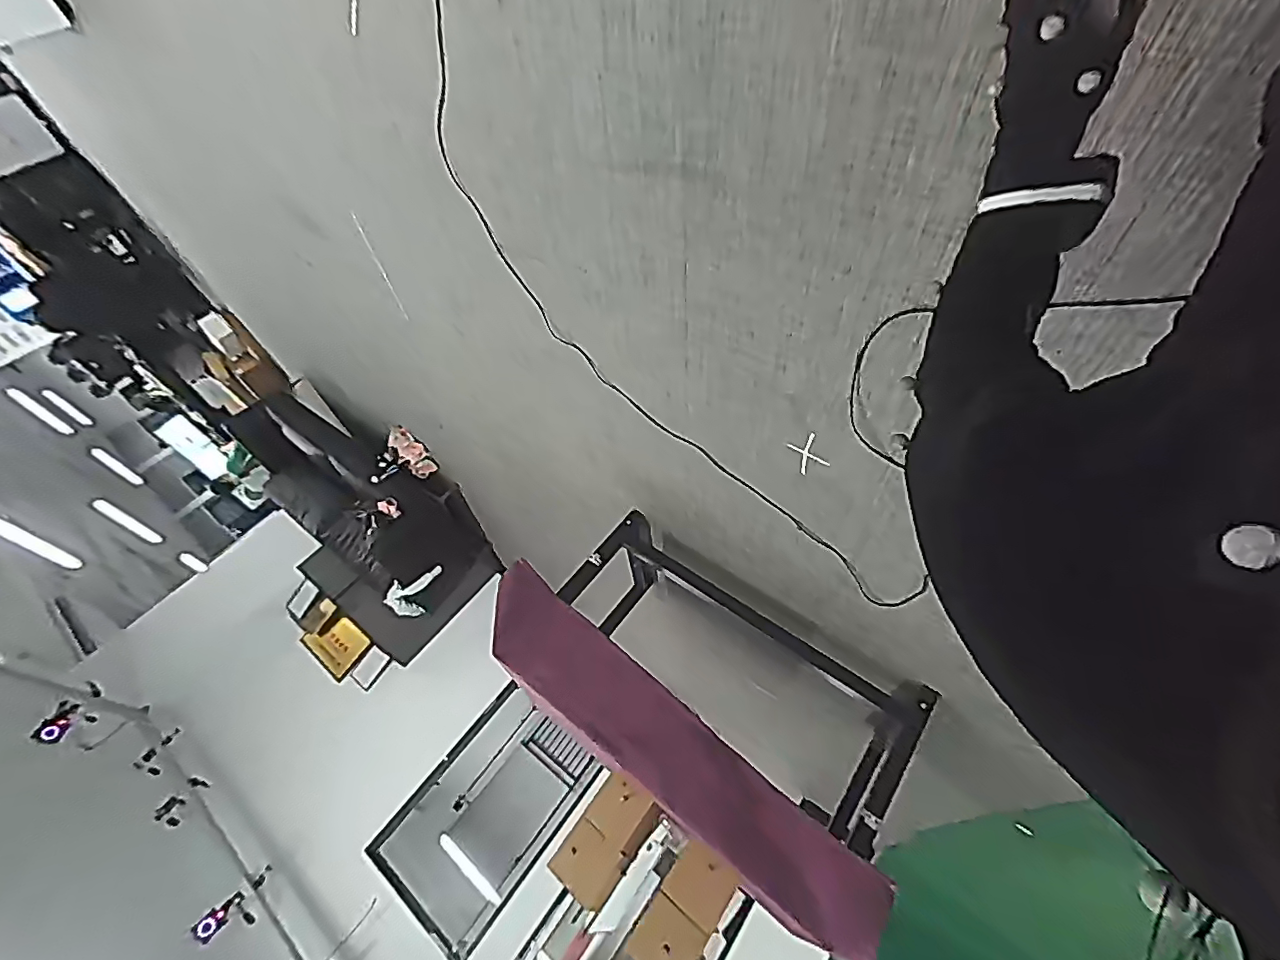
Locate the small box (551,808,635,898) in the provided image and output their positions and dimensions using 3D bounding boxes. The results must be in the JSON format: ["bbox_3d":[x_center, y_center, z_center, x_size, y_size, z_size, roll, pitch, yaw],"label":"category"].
[{"bbox_3d":[-0.142,1.153,1.684,0.179,0.176,0.168,26,151,30],"label":"small box"}]

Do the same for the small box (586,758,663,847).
[{"bbox_3d":[-0.043,1.044,1.756,0.168,0.176,0.179,25,149,31],"label":"small box"}]

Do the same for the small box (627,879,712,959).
[{"bbox_3d":[0.088,1.283,1.552,0.179,0.176,0.168,28,151,27],"label":"small box"}]

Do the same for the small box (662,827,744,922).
[{"bbox_3d":[0.190,1.173,1.621,0.179,0.176,0.168,29,152,27],"label":"small box"}]
